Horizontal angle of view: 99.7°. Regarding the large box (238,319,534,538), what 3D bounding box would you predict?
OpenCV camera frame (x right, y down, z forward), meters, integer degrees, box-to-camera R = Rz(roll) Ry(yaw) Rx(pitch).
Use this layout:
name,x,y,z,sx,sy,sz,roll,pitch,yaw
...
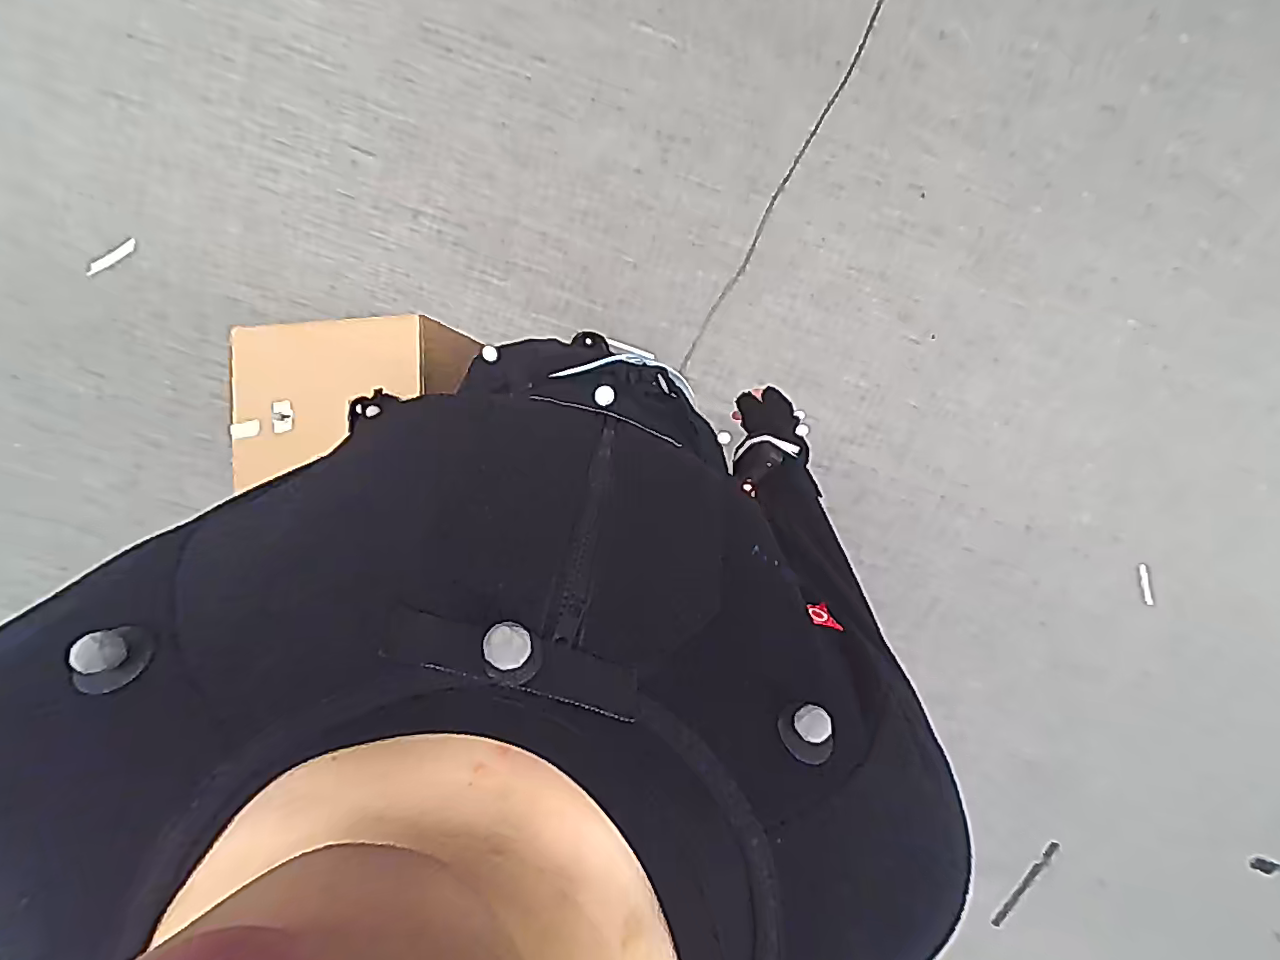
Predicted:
name,x,y,z,sx,sy,sz,roll,pitch,yaw
large box,-0.415,-0.081,0.969,0.320,0.408,0.320,2,92,11
